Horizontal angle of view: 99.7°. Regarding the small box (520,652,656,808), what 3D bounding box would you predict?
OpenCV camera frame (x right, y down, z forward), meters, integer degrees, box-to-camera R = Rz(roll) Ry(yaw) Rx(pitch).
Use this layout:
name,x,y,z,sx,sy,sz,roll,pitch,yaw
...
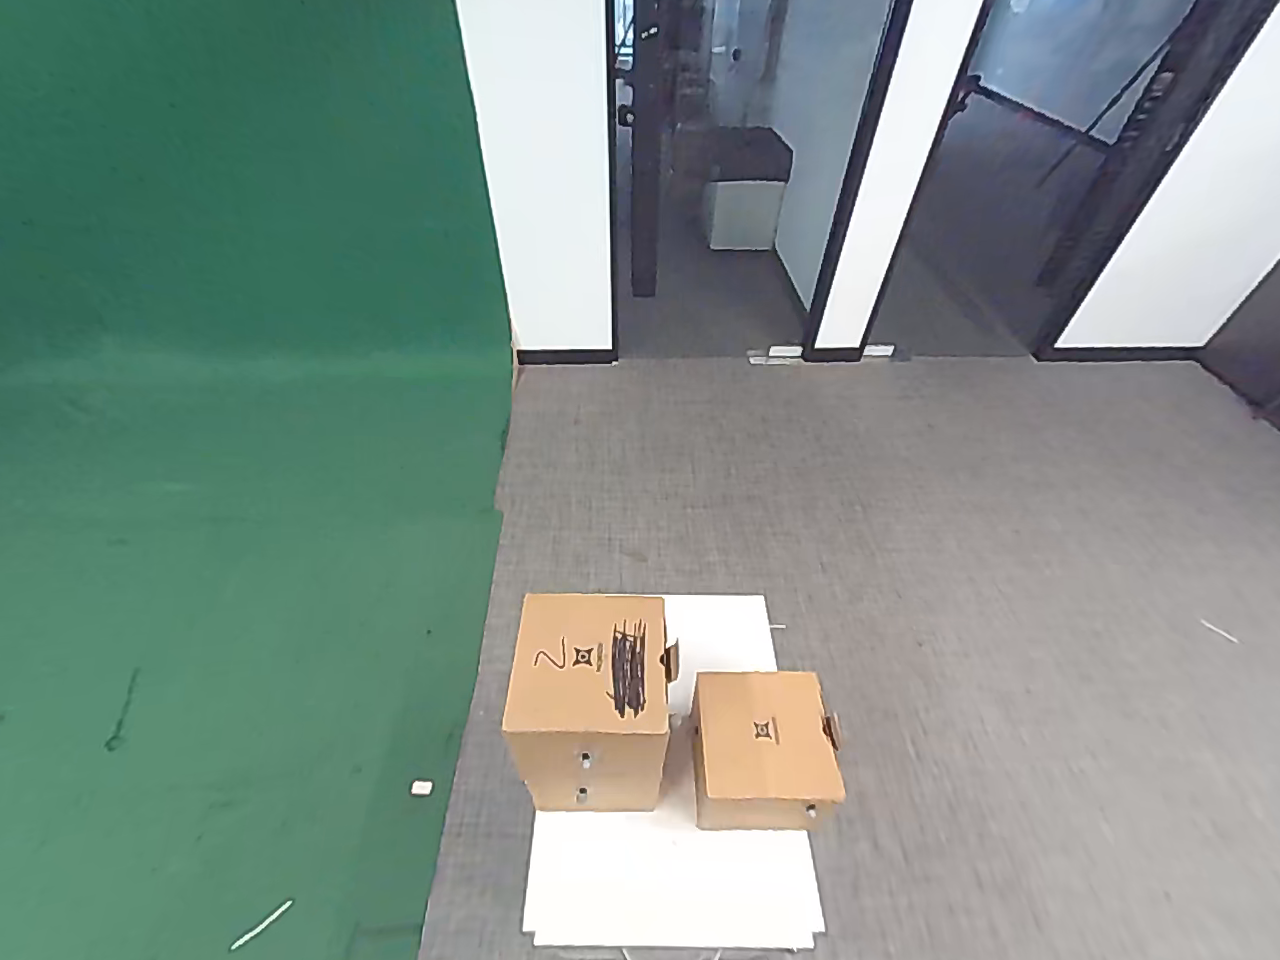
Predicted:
name,x,y,z,sx,sy,sz,roll,pitch,yaw
small box,-0.067,0.368,0.792,0.179,0.176,0.168,1,47,-2
